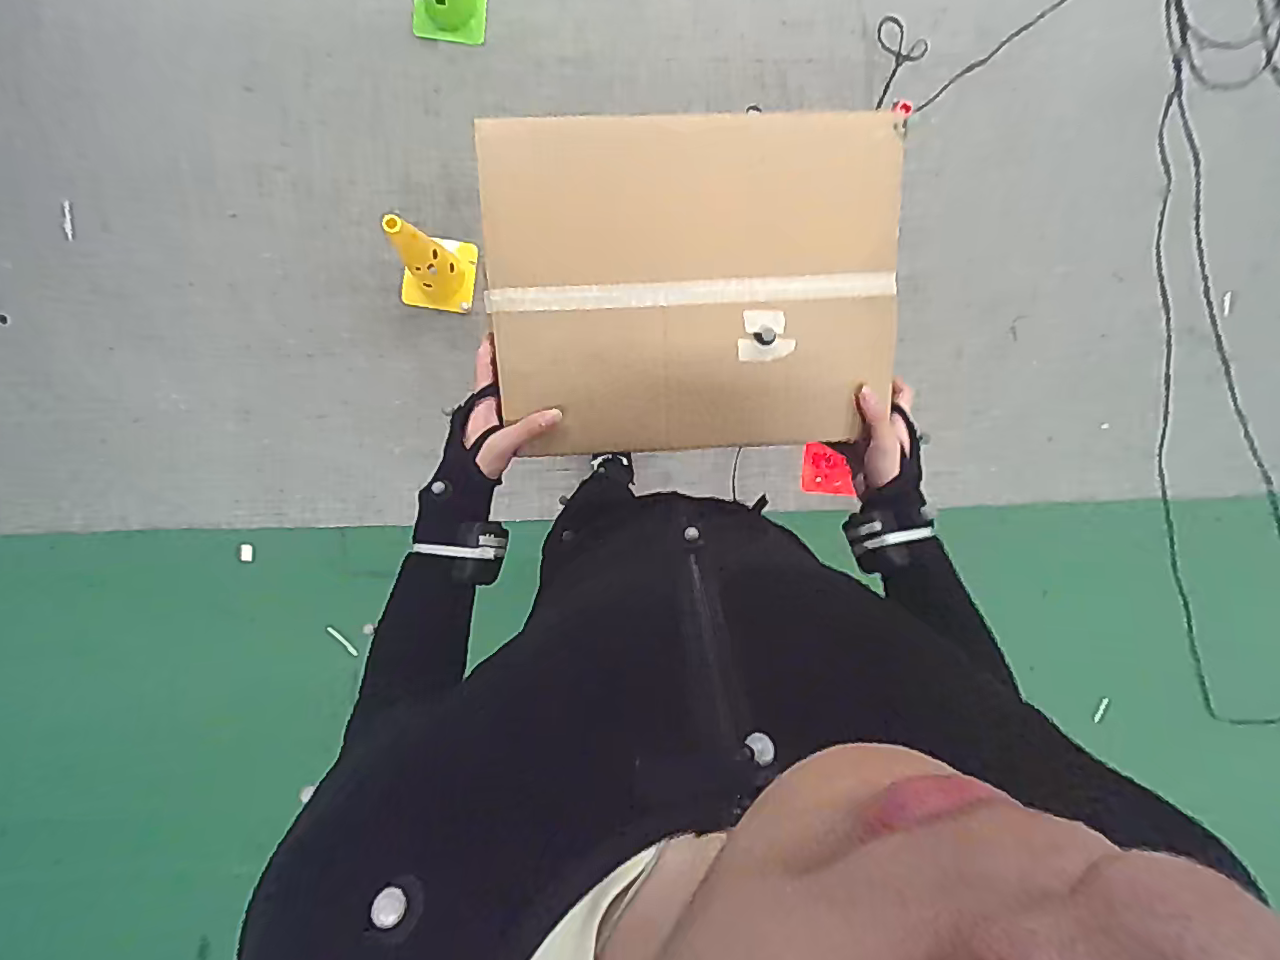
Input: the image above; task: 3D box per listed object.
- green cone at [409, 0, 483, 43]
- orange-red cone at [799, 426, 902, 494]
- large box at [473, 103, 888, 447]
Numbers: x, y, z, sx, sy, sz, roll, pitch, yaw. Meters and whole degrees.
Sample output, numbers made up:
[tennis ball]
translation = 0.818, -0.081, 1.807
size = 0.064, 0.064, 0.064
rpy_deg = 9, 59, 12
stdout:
[green cone]
translation = -0.535, -1.332, 1.349
size = 0.200, 0.368, 0.202
rpy_deg = 4, 94, -3
[orange-red cone]
translation = 0.606, -0.048, 1.481
size = 0.199, 0.360, 0.198
rpy_deg = 5, 93, -5
[large box]
translation = 0.039, -0.228, 0.684
size = 0.408, 0.320, 0.320
rpy_deg = -4, 103, -4
